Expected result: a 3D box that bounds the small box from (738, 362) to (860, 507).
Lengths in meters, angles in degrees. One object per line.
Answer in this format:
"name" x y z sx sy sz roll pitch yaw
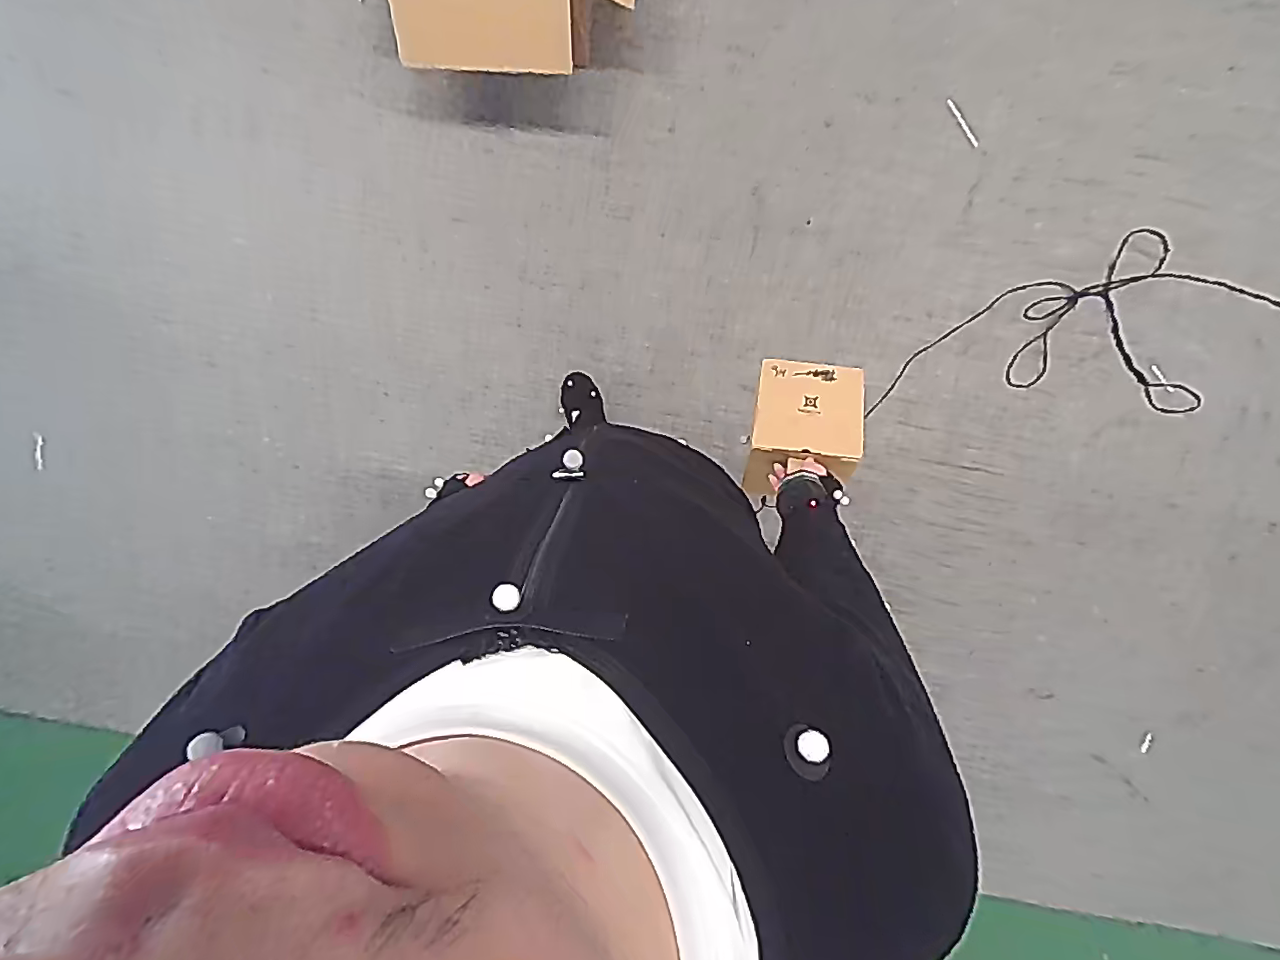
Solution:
"small box" 0.263 -0.071 0.917 0.168 0.176 0.179 10 64 10
